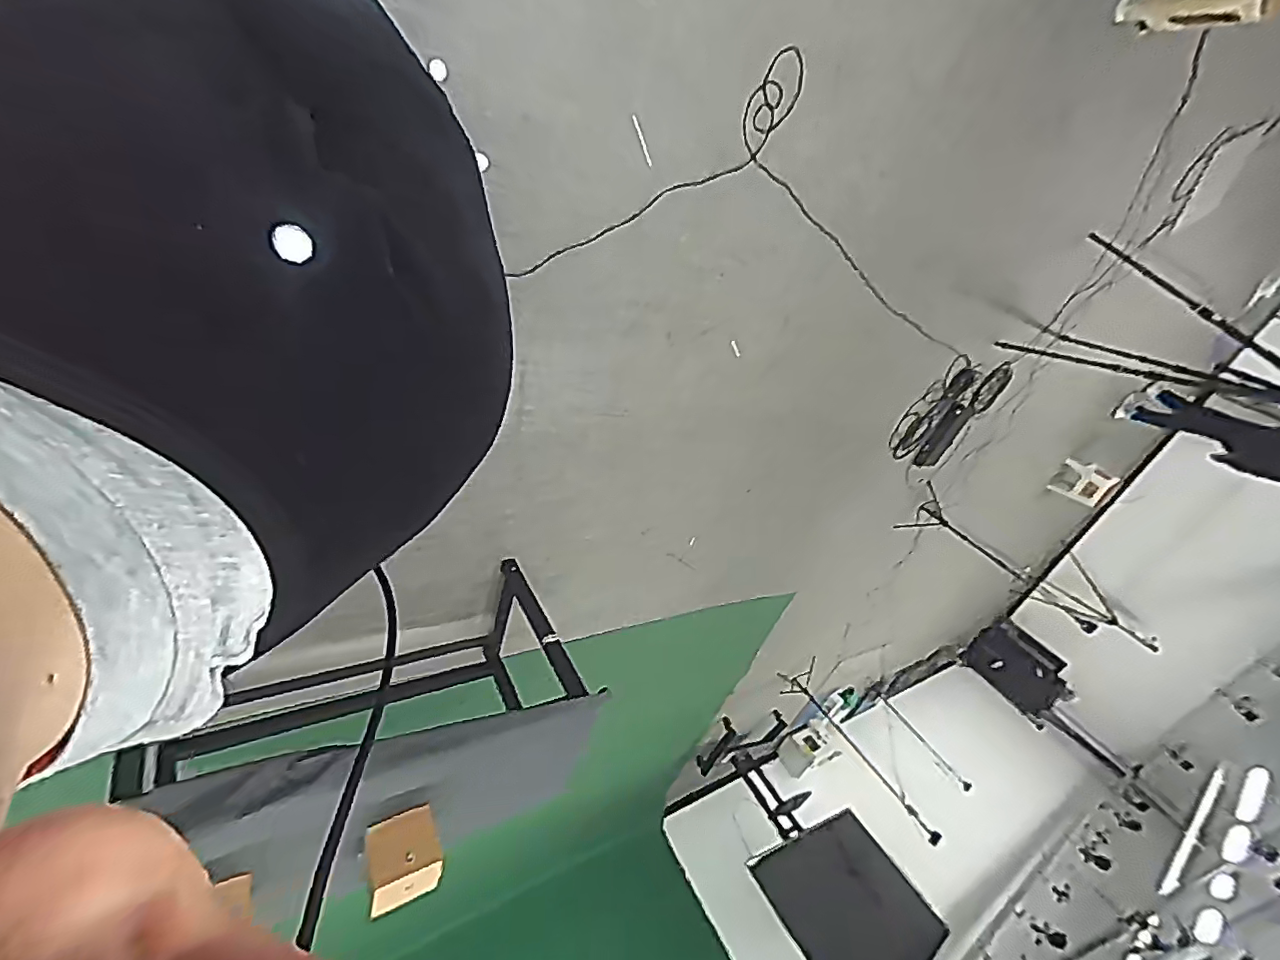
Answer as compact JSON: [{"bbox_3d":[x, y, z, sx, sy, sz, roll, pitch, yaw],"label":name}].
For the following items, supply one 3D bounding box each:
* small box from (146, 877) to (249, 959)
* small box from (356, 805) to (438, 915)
[{"bbox_3d":[-1.034,1.079,1.262,0.179,0.176,0.168,2,123,-41],"label":"small box"},{"bbox_3d":[-0.693,1.067,1.533,0.179,0.176,0.168,-3,125,-35],"label":"small box"}]
